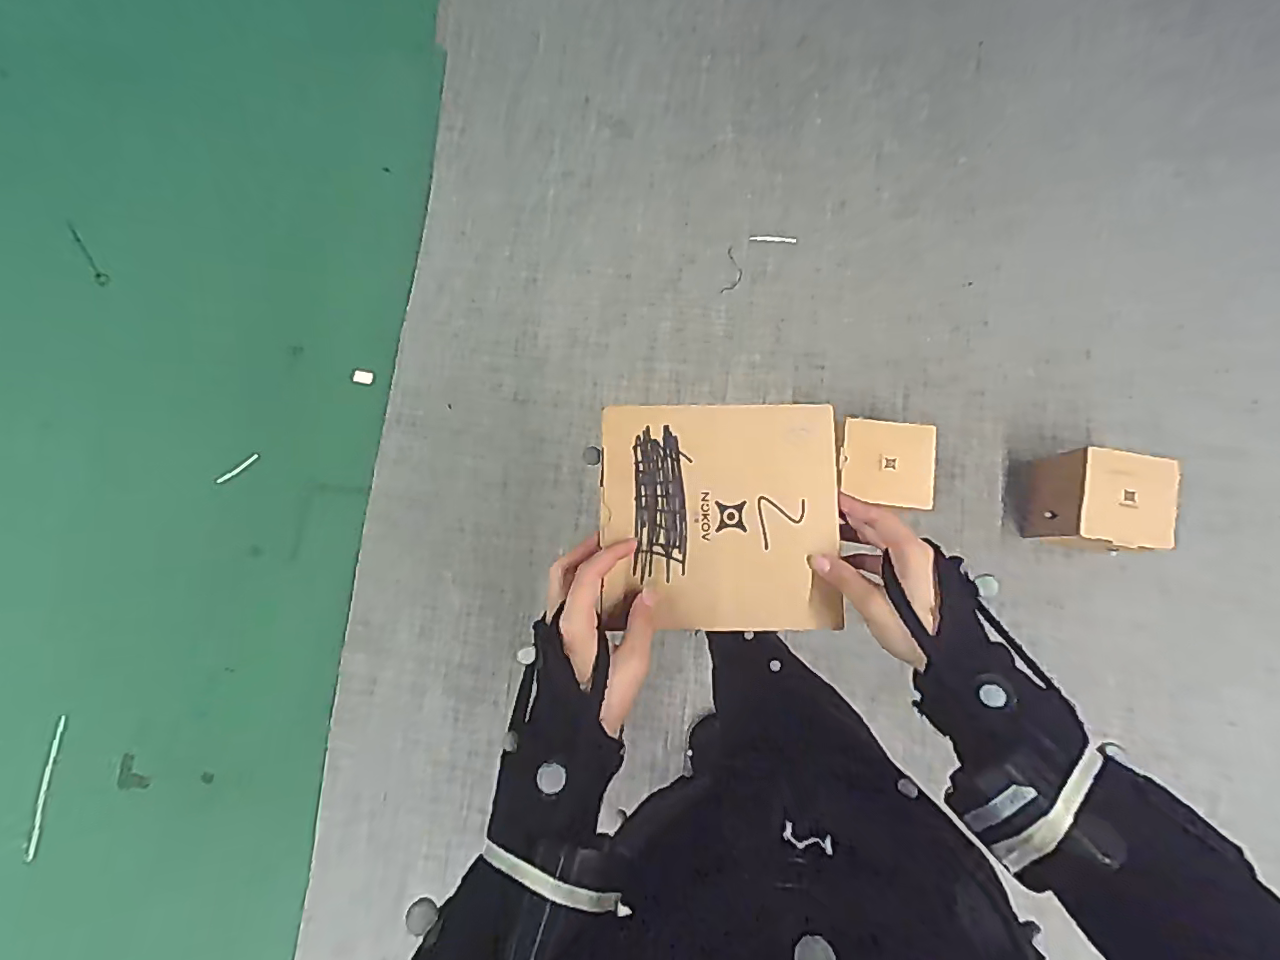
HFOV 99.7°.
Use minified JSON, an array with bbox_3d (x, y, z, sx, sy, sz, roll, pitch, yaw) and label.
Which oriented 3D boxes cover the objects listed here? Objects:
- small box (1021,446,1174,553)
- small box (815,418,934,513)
[{"bbox_3d":[0.899,0.045,1.079,0.168,0.176,0.179,10,83,4],"label":"small box"},{"bbox_3d":[0.476,-0.023,1.116,0.179,0.176,0.168,6,83,5],"label":"small box"}]
